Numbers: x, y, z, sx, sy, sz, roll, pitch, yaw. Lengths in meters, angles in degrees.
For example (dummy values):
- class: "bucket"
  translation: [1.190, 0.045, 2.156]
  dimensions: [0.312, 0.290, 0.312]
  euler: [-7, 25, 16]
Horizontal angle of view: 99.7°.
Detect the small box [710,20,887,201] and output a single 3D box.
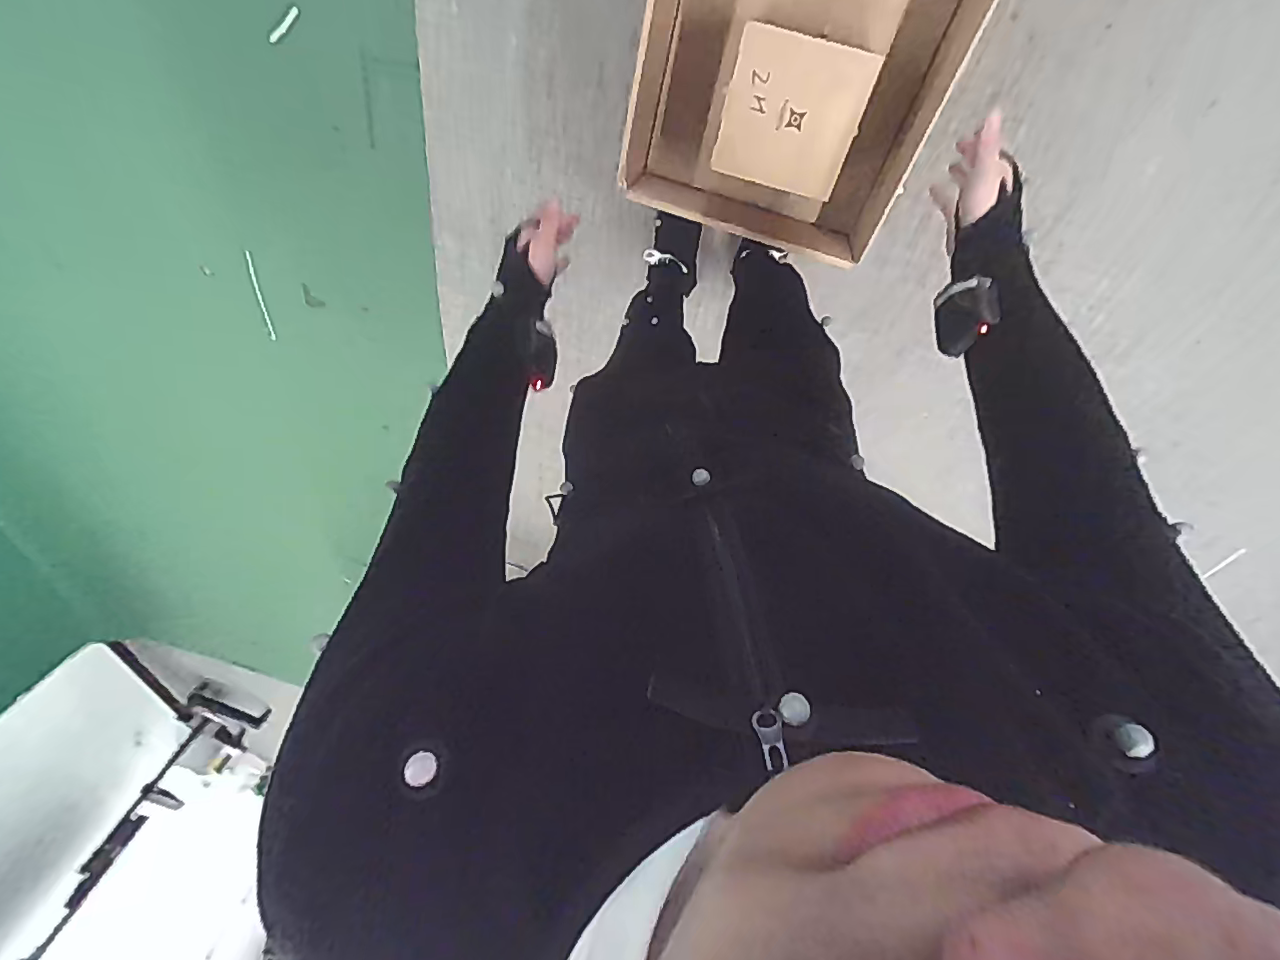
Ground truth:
- class: "small box"
  translation: [0.213, -0.520, 0.758]
  dimensions: [0.179, 0.176, 0.168]
  euler: [17, 131, 1]
